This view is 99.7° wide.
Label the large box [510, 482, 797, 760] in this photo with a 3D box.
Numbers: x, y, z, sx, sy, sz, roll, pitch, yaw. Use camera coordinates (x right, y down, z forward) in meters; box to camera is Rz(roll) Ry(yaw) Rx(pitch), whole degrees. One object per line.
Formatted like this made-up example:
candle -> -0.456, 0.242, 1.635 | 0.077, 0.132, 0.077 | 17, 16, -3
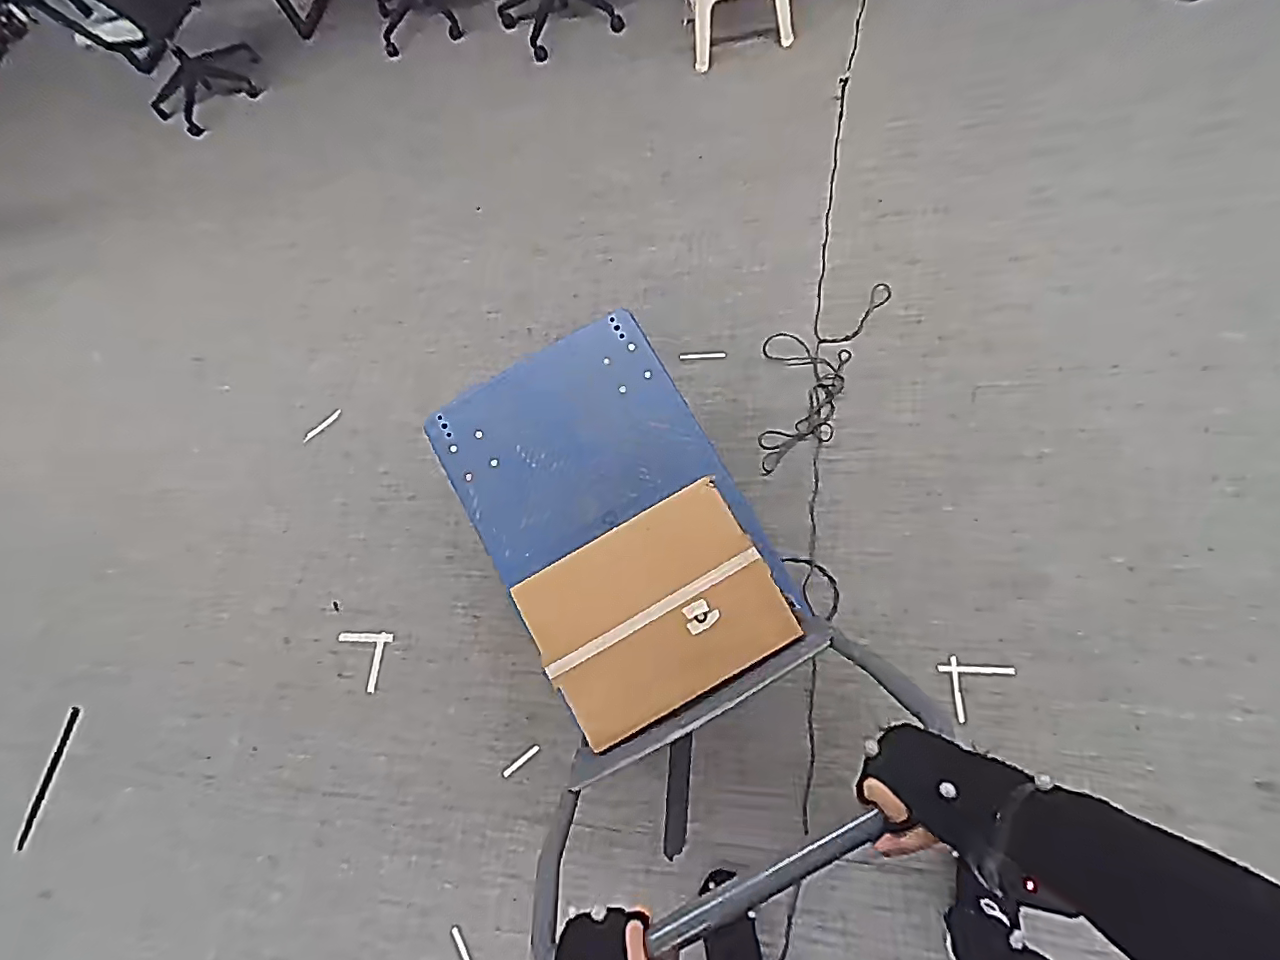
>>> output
large box -> 0.025, 0.254, 1.058 | 0.408, 0.320, 0.320 | -31, 82, -2
